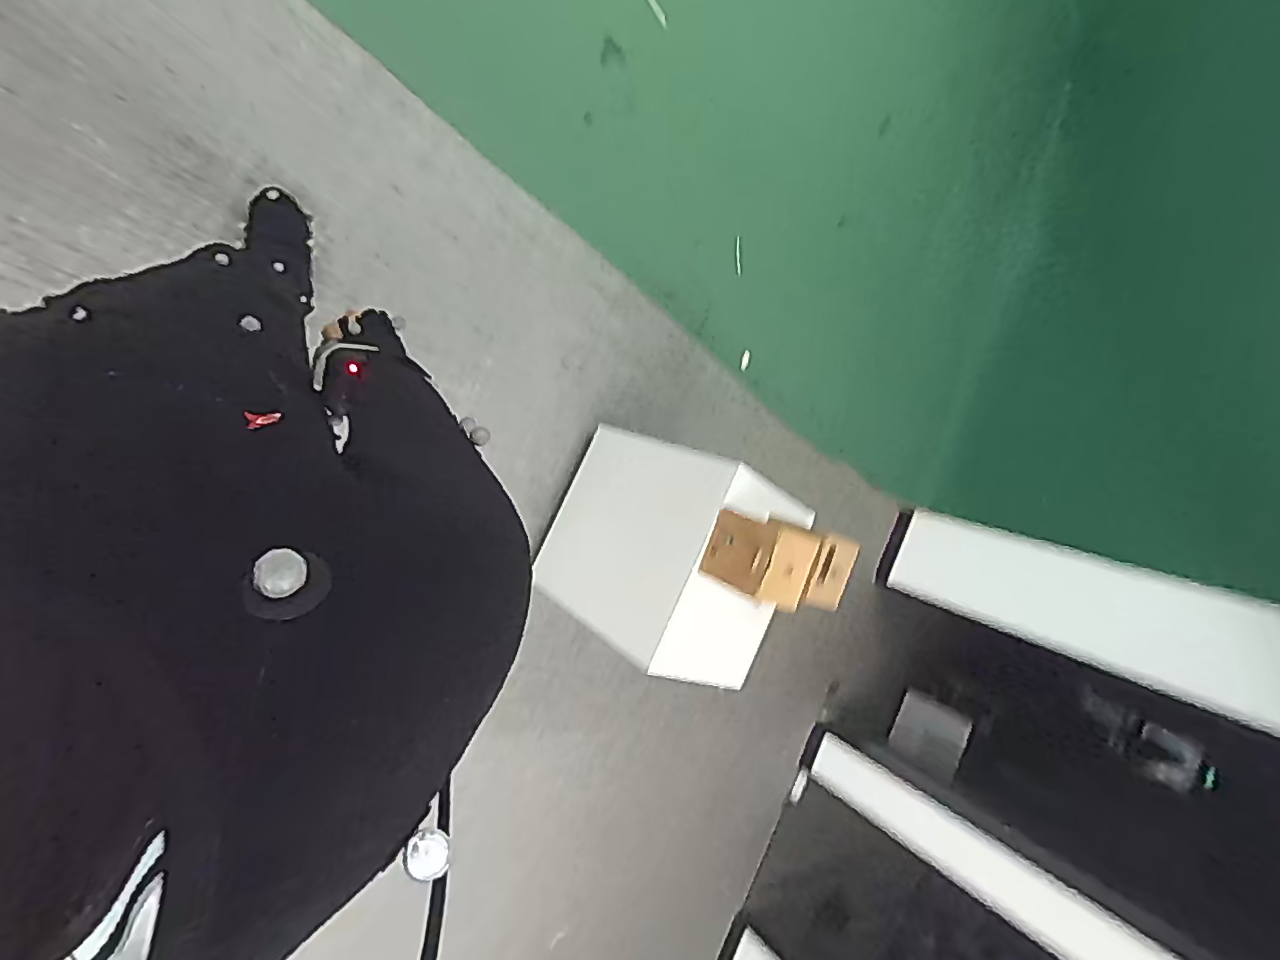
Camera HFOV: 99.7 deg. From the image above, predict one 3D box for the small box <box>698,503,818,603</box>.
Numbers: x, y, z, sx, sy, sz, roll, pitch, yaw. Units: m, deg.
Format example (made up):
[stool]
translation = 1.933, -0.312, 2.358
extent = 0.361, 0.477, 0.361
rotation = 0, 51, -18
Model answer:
[small box]
translation = 0.264, 0.163, 1.224
extent = 0.179, 0.176, 0.168
rotation = 20, 91, -44
